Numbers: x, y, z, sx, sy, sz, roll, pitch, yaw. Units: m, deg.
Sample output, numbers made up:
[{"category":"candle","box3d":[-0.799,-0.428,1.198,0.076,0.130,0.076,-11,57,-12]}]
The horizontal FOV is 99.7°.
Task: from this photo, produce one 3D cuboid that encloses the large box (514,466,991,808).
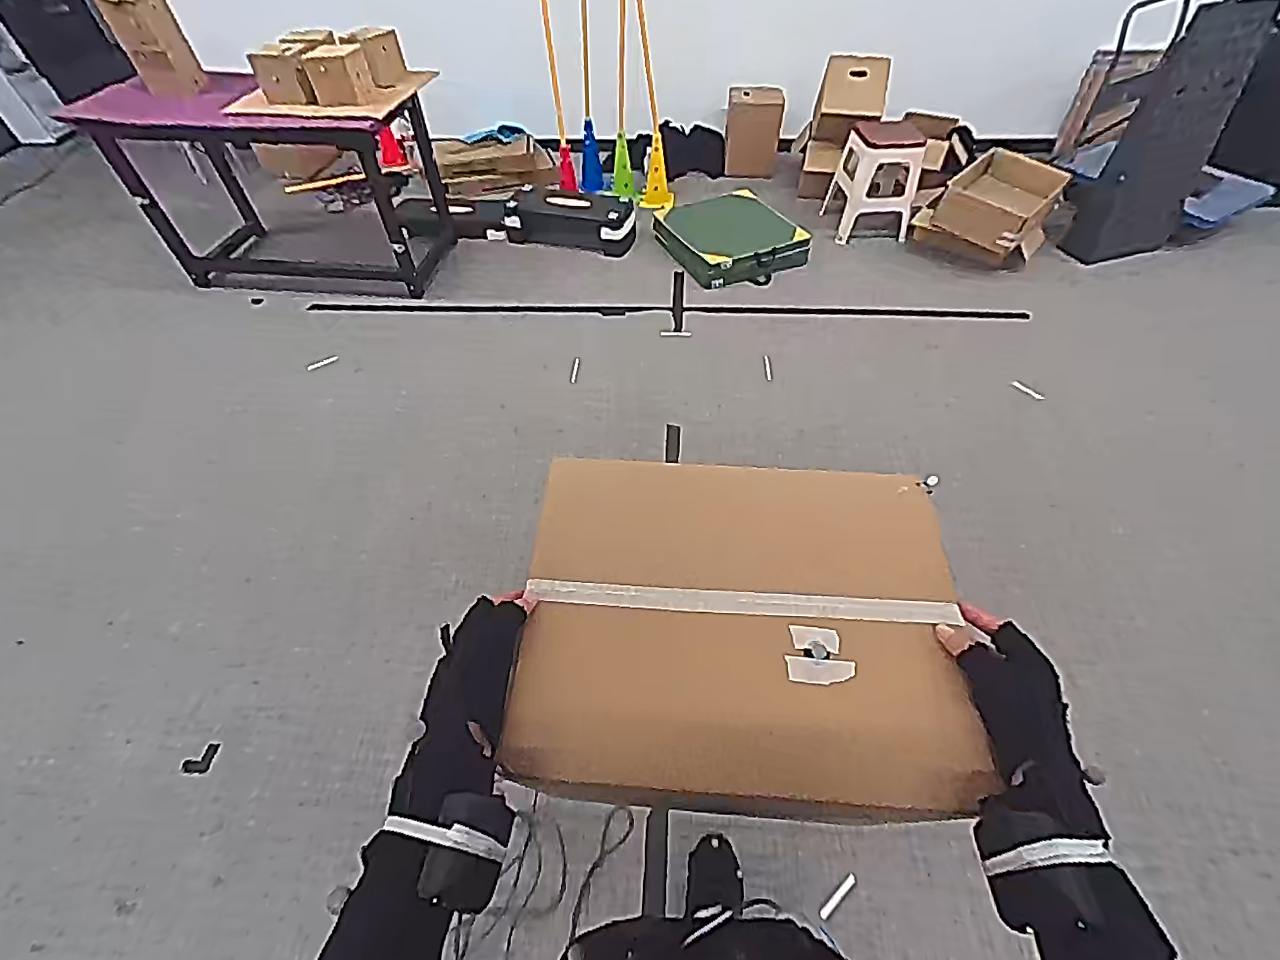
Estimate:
[{"category":"large box","box3d":[0.098,0.199,0.651,0.408,0.320,0.320,3,58,3]}]
